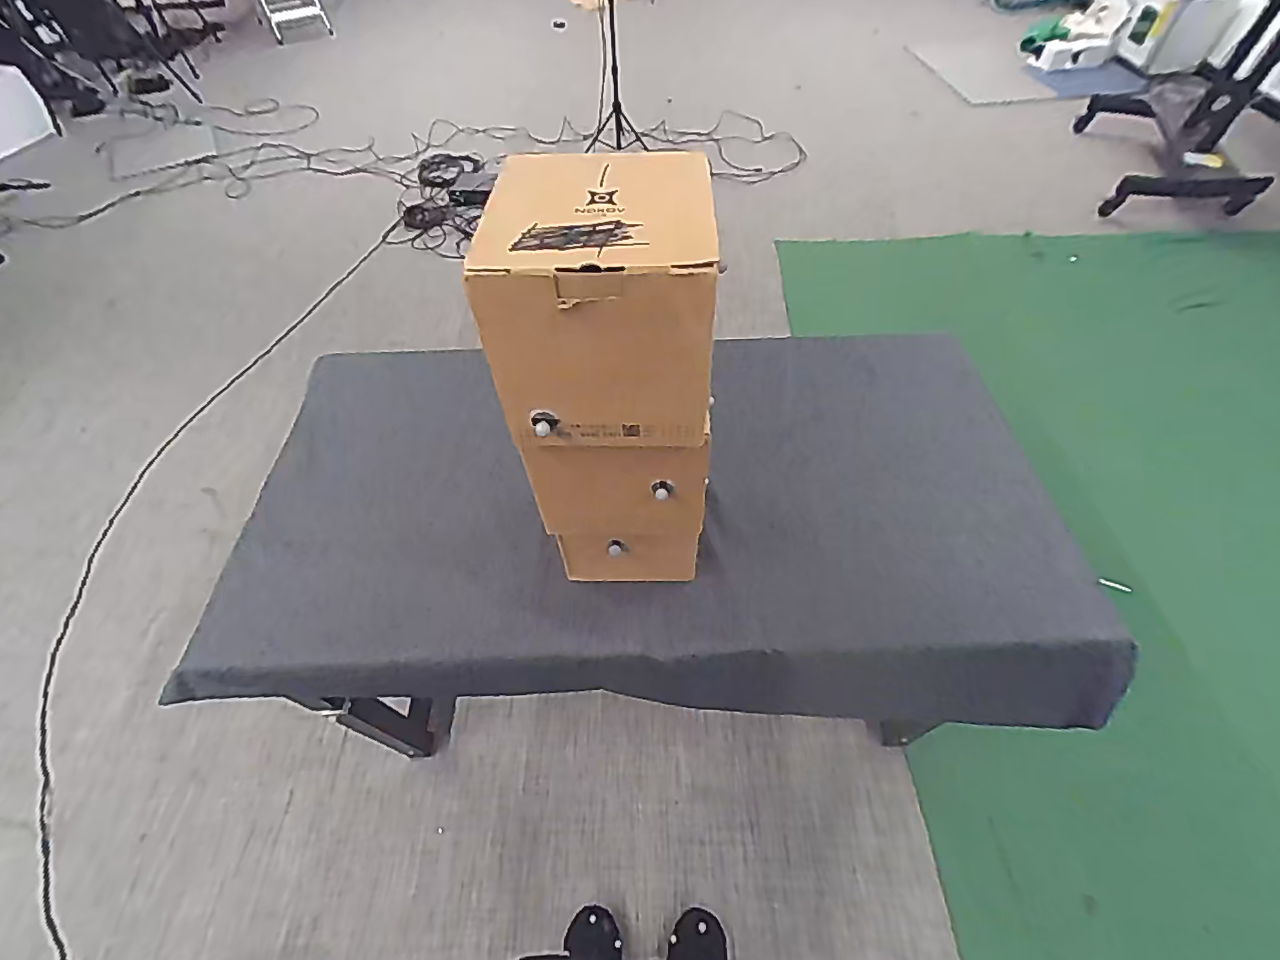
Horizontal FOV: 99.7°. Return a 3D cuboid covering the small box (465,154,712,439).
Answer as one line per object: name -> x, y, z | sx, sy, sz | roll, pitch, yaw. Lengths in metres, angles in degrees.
small box -> -0.028, -0.150, 0.460 | 0.168, 0.176, 0.179 | 1, 52, 2

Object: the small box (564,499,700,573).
small box -> -0.015, 0.018, 0.744 | 0.179, 0.176, 0.168 | -2, 53, -1

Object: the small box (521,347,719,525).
small box -> -0.020, -0.064, 0.581 | 0.179, 0.176, 0.168 | -3, 54, -1
